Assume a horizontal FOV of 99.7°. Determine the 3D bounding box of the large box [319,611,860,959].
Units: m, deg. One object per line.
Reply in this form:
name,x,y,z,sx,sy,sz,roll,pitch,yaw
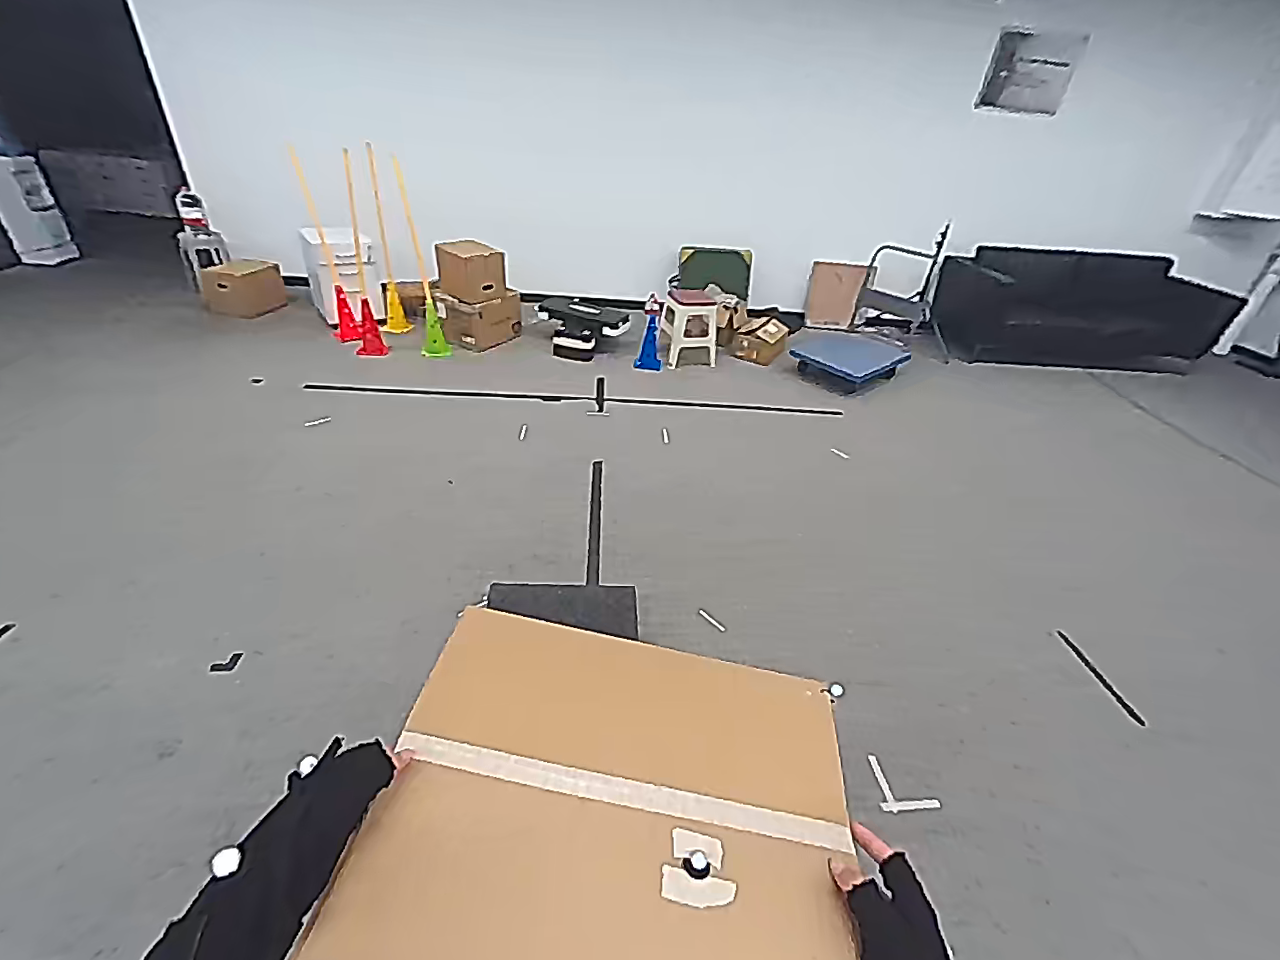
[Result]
large box,-0.038,0.391,0.577,0.408,0.320,0.320,12,38,0
